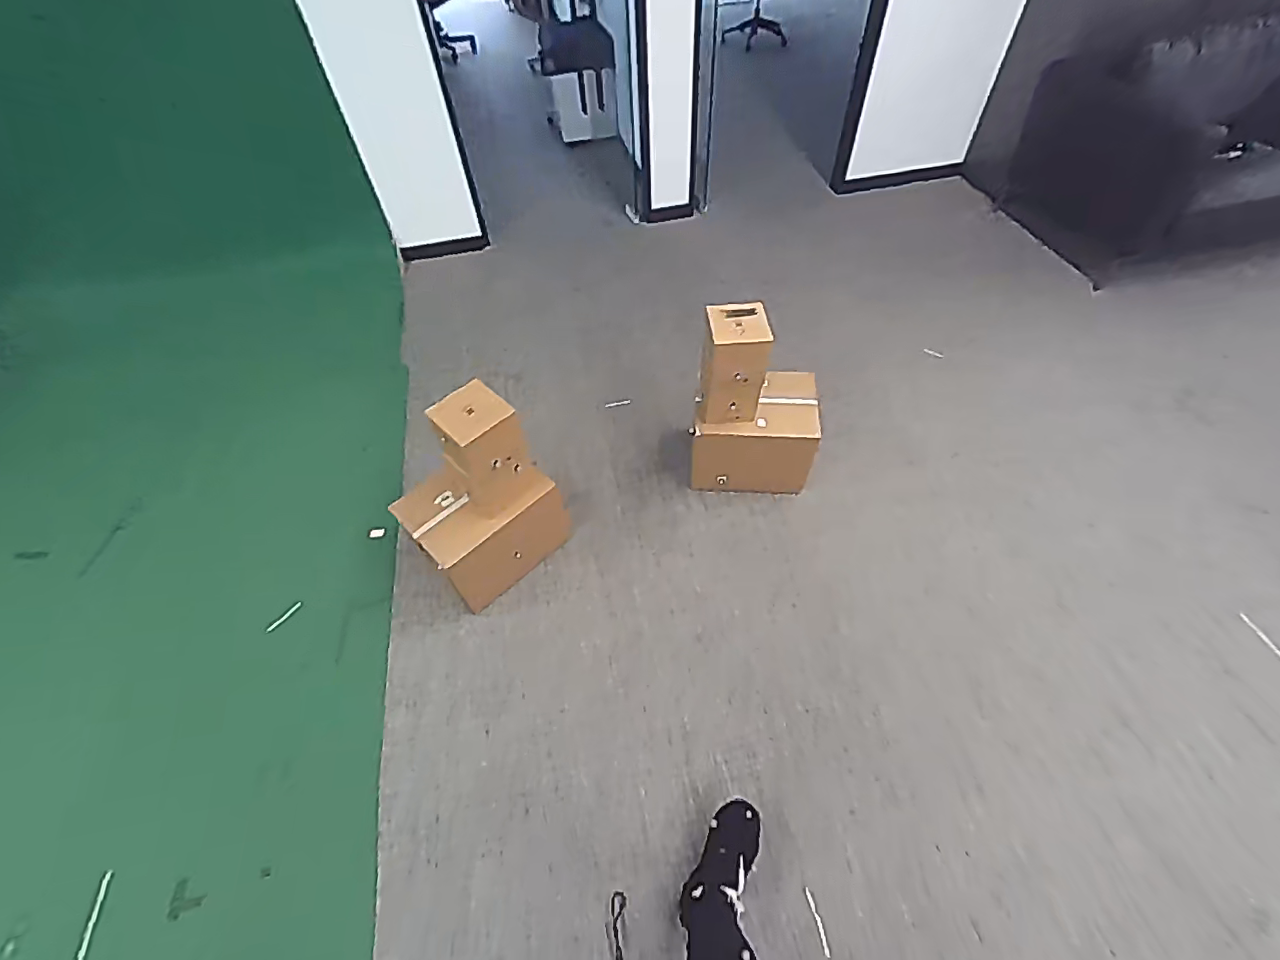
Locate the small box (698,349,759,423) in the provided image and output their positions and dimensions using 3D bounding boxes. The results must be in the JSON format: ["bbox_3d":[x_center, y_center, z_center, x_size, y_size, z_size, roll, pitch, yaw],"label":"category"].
[{"bbox_3d":[0.279,-0.297,1.738,0.168,0.176,0.179,-3,53,-1],"label":"small box"}]

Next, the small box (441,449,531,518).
[{"bbox_3d":[-0.433,-0.028,1.557,0.168,0.176,0.179,36,62,26],"label":"small box"}]

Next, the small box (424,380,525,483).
[{"bbox_3d":[-0.431,-0.124,1.426,0.168,0.176,0.179,-39,61,-24],"label":"small box"}]

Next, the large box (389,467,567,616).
[{"bbox_3d":[-0.497,0.149,1.735,0.320,0.320,0.408,36,62,28],"label":"large box"}]
